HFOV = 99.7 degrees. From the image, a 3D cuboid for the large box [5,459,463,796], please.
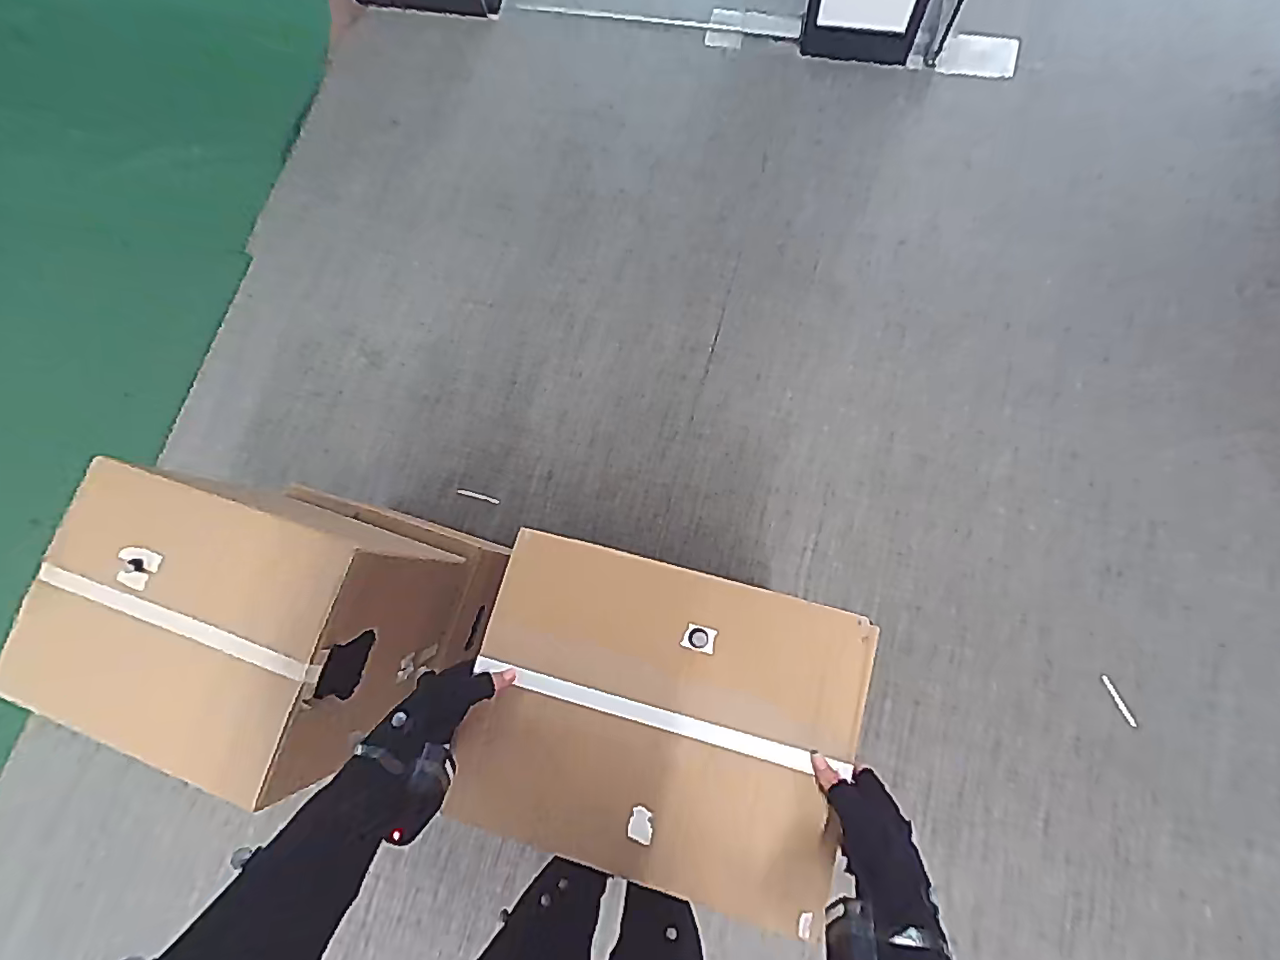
[{"bbox_3d":[-0.549,0.192,0.810,0.408,0.320,0.320,16,81,11],"label":"large box"}]
